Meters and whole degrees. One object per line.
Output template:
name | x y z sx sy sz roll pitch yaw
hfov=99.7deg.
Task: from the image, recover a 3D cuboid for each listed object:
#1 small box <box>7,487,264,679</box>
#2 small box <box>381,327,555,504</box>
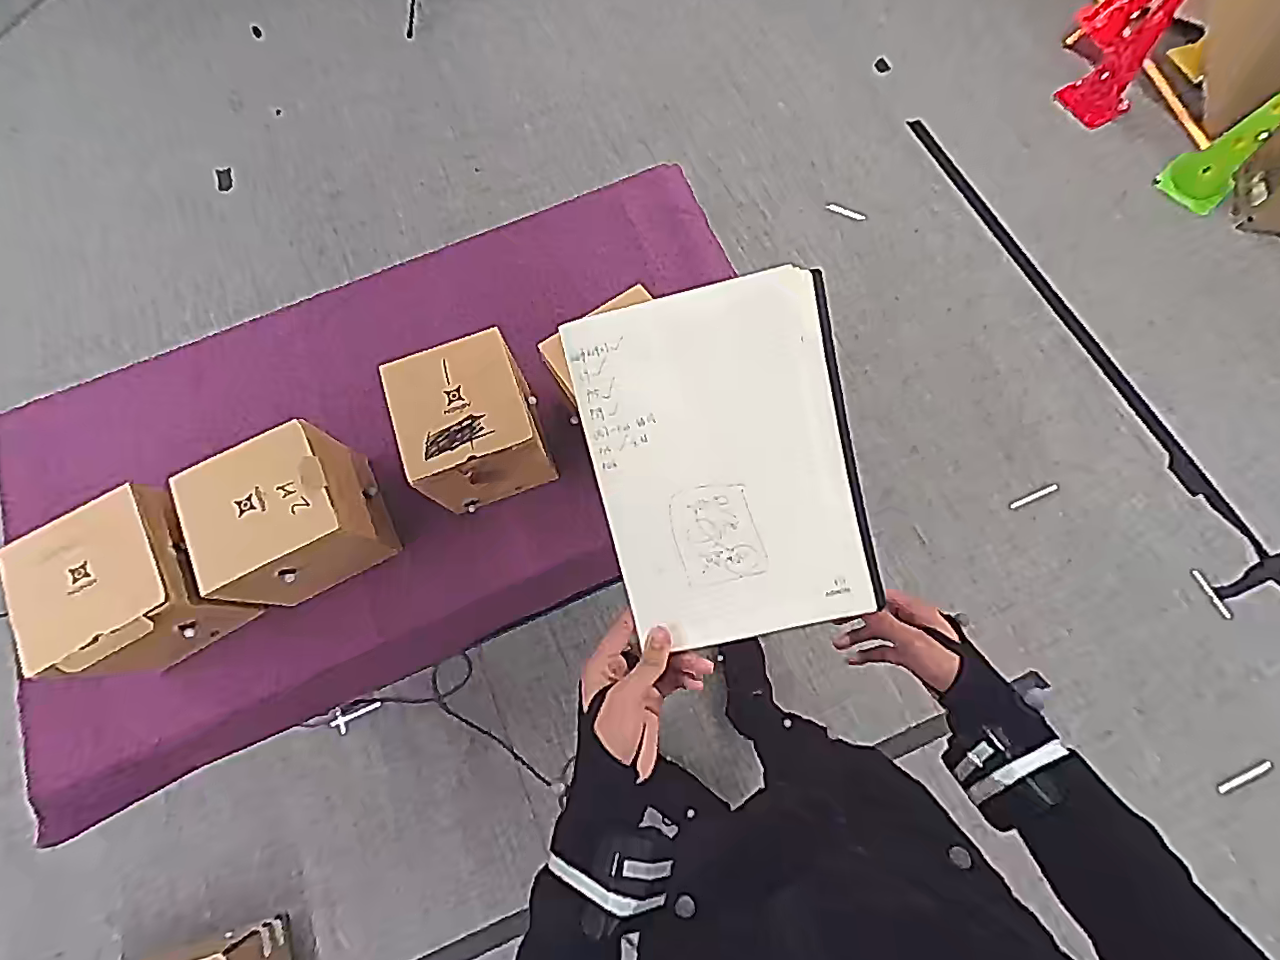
small box | -0.651 0.139 0.719 0.168 0.176 0.179 -31 74 -8
small box | -0.232 -0.077 0.767 0.168 0.176 0.179 -20 73 -4
